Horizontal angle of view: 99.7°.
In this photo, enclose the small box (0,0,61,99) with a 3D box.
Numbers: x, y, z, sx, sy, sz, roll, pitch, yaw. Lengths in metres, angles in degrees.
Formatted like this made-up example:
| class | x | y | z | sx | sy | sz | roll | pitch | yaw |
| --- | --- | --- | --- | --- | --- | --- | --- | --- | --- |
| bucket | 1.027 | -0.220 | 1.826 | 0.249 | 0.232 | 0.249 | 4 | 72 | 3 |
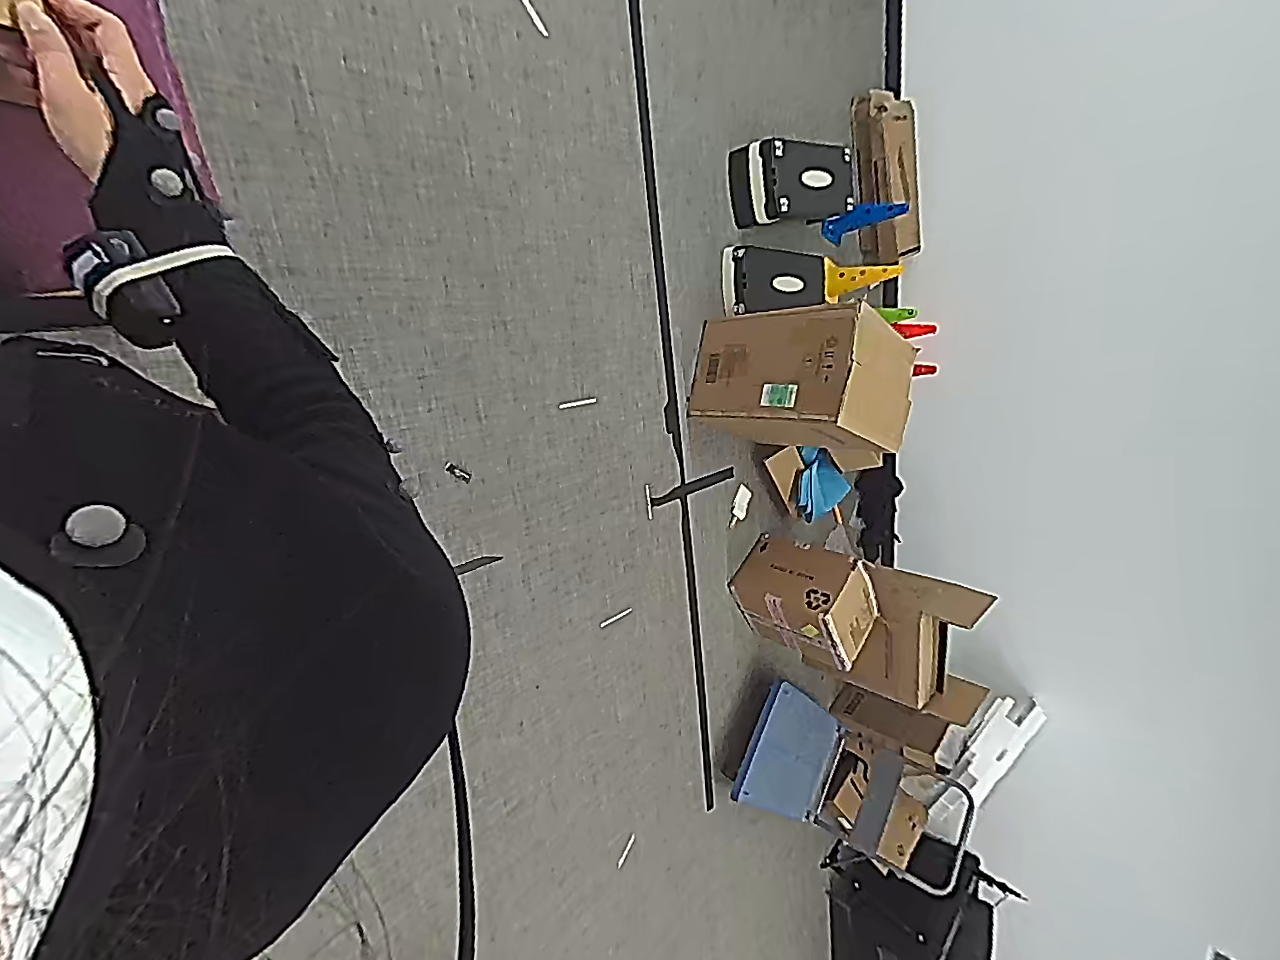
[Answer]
| class | x | y | z | sx | sy | sz | roll | pitch | yaw |
| --- | --- | --- | --- | --- | --- | --- | --- | --- | --- |
| small box | -0.481 | -0.356 | 0.313 | 0.179 | 0.176 | 0.168 | -12 | 110 | -43 |
